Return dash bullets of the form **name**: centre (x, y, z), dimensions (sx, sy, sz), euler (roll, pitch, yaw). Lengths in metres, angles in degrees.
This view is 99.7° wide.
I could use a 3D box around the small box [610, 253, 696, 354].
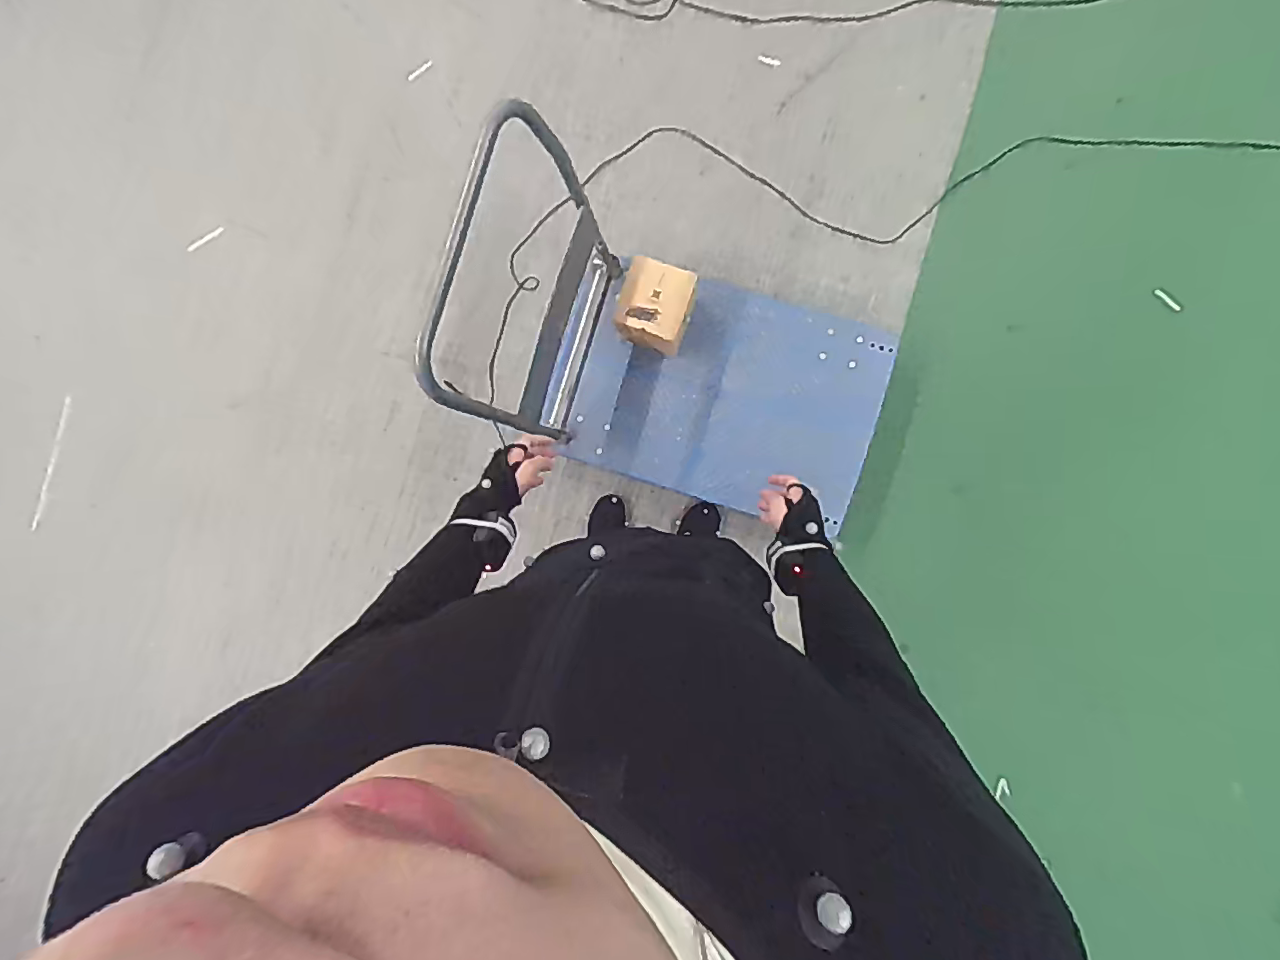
- **small box**: centre (0.038, -0.444, 1.388), dimensions (0.168, 0.176, 0.179), euler (20, 91, 4)
